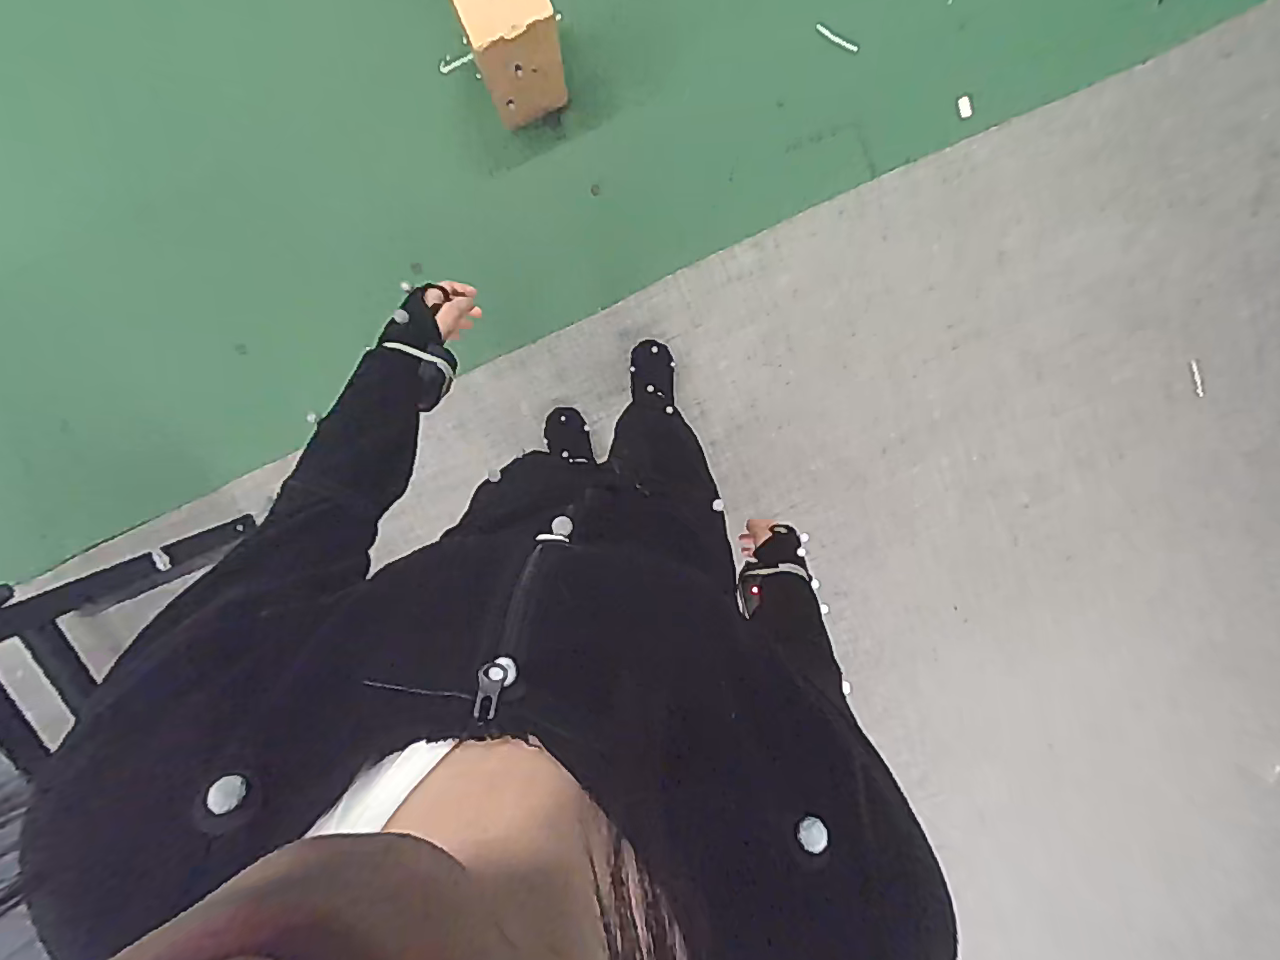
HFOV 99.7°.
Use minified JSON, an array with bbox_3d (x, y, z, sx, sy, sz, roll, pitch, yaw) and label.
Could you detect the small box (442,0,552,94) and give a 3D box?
[{"bbox_3d":[-0.285,-0.912,1.057,0.168,0.176,0.179,-25,101,-1],"label":"small box"}]
